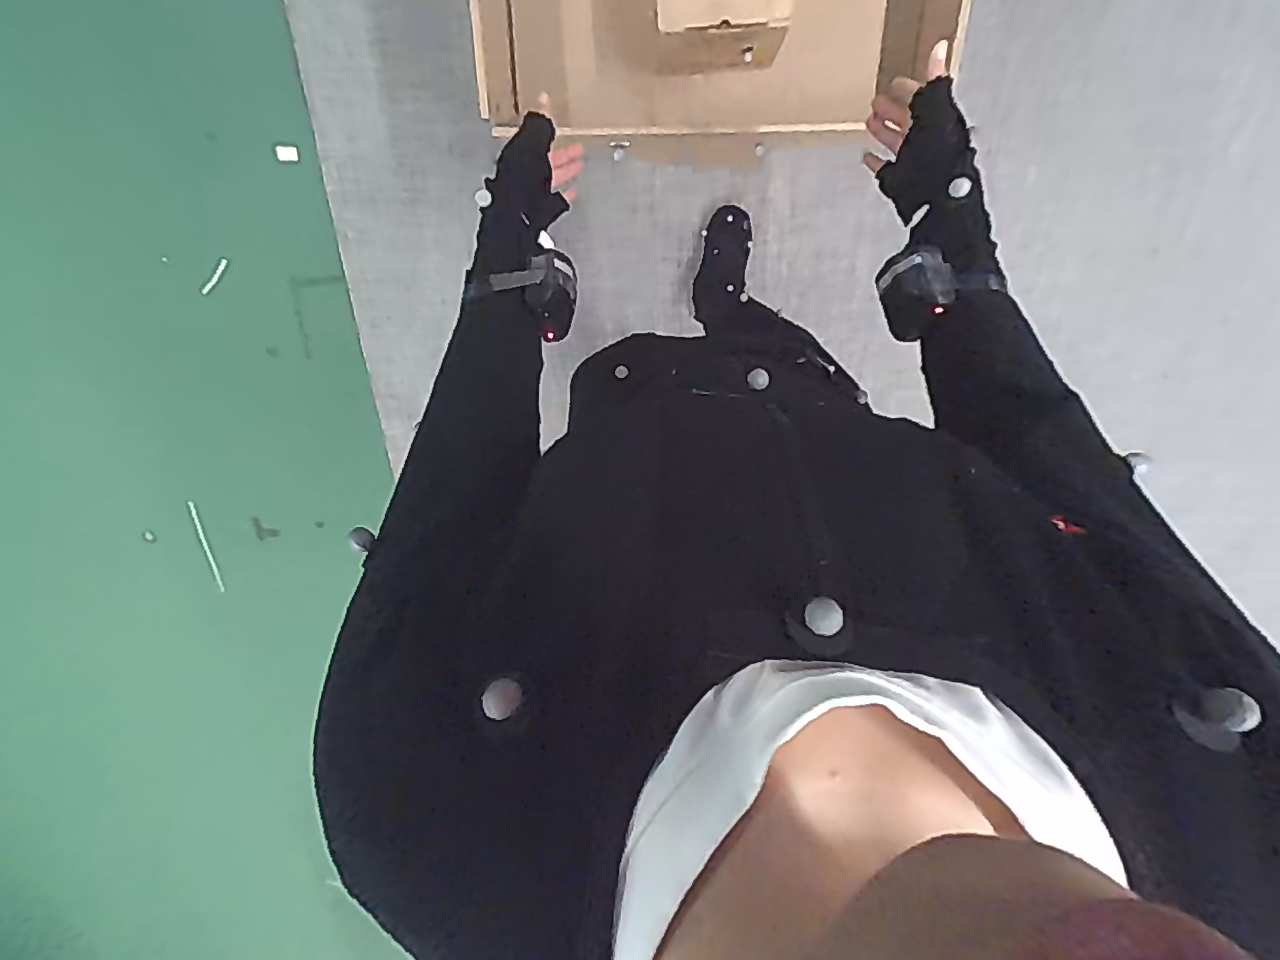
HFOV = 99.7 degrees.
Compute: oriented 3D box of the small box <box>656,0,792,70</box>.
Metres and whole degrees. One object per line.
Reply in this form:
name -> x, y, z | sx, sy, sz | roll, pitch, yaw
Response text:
small box -> 0.104, -0.659, 0.701 | 0.168, 0.176, 0.179 | -1, 111, 3
